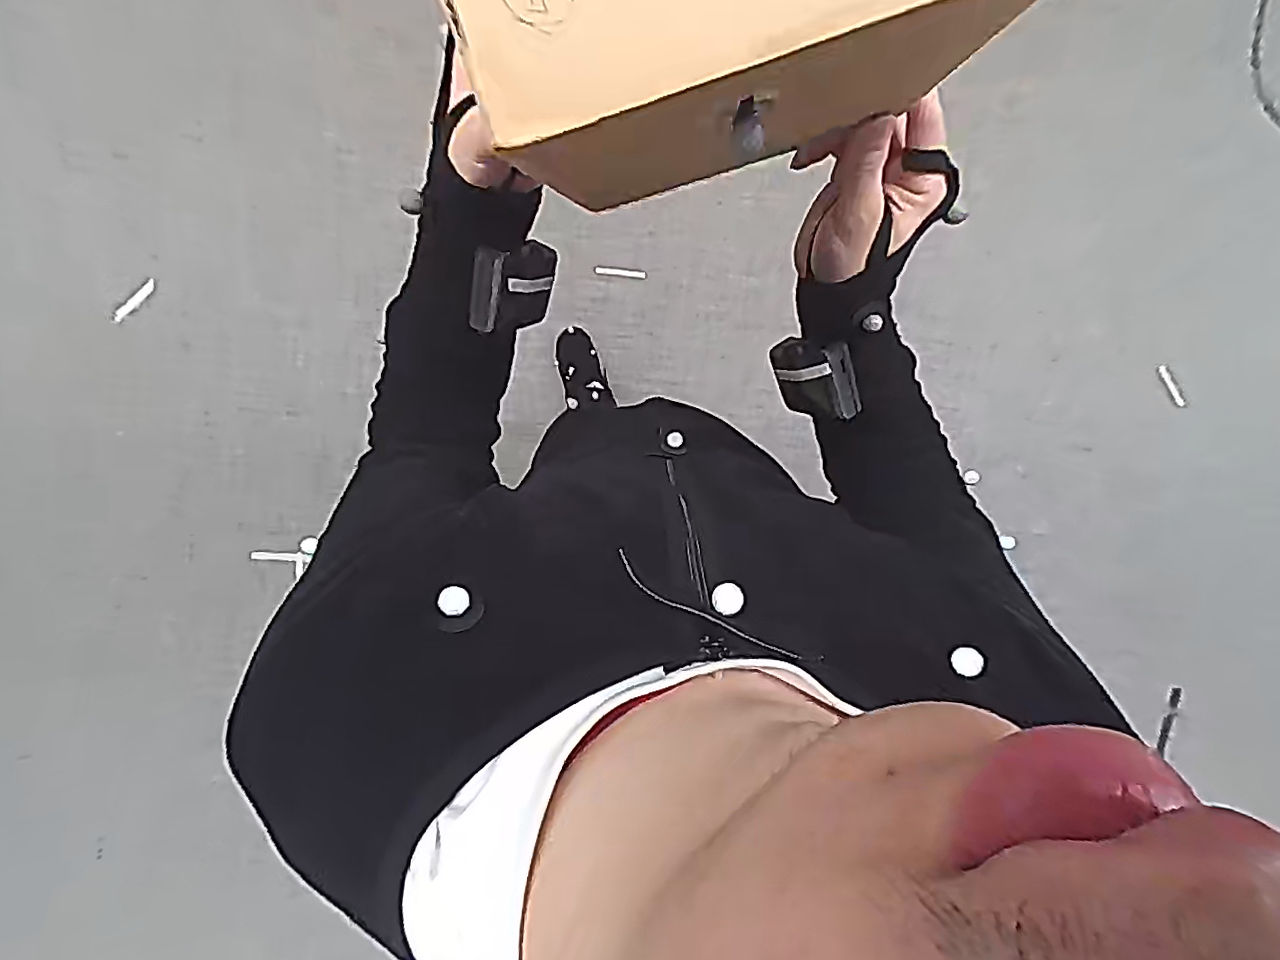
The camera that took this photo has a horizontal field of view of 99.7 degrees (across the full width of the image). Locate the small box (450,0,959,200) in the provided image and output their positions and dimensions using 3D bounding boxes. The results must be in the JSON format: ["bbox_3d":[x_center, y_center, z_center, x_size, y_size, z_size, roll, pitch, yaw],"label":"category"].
[{"bbox_3d":[0.021,-0.232,0.217,0.179,0.176,0.168,-13,108,11],"label":"small box"}]
